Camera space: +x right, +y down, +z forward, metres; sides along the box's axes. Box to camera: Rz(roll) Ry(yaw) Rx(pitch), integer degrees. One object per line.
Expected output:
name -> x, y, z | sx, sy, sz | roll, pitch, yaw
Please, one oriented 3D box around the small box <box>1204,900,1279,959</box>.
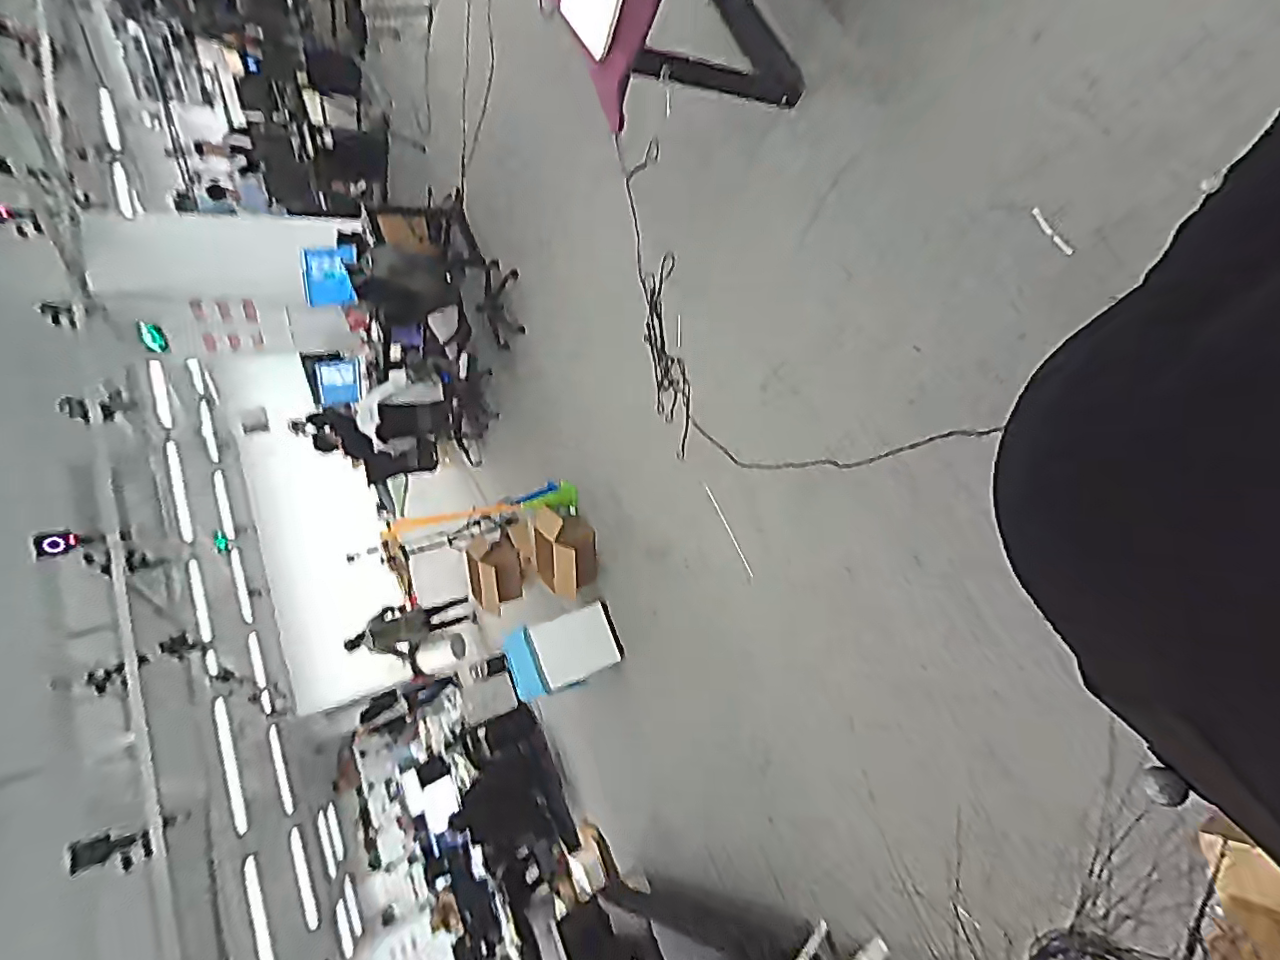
small box -> 1.067, 0.847, 0.873 | 0.168, 0.176, 0.179 | -14, 92, 58
